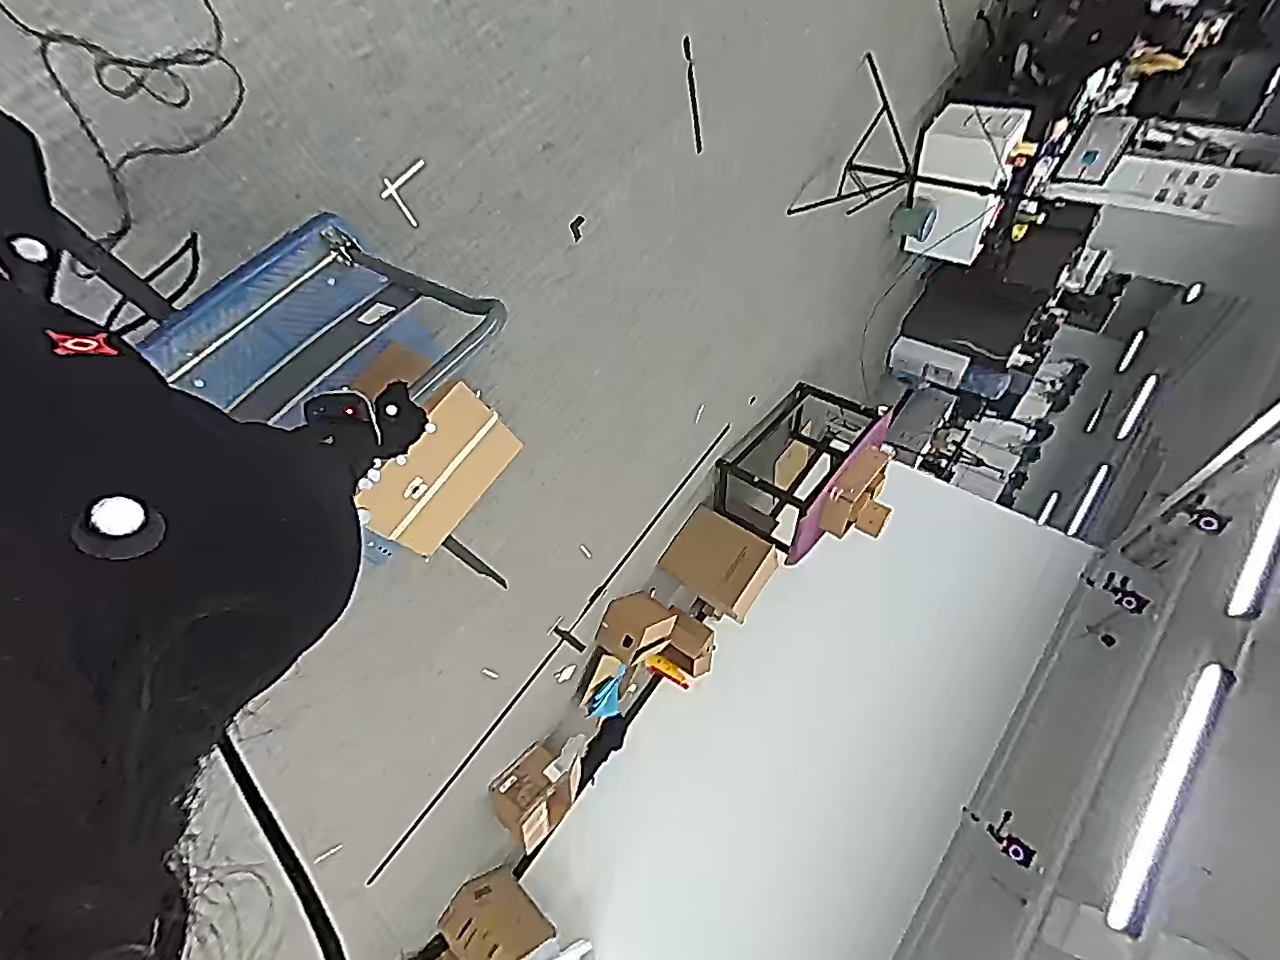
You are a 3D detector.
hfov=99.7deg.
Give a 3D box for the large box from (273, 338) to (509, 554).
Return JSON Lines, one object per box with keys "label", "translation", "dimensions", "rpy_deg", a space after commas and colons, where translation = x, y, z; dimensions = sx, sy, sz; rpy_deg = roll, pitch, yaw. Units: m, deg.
{"label": "large box", "translation": [-0.633, -0.089, 1.415], "dimensions": [0.408, 0.320, 0.320], "rpy_deg": [-52, 150, -12]}
